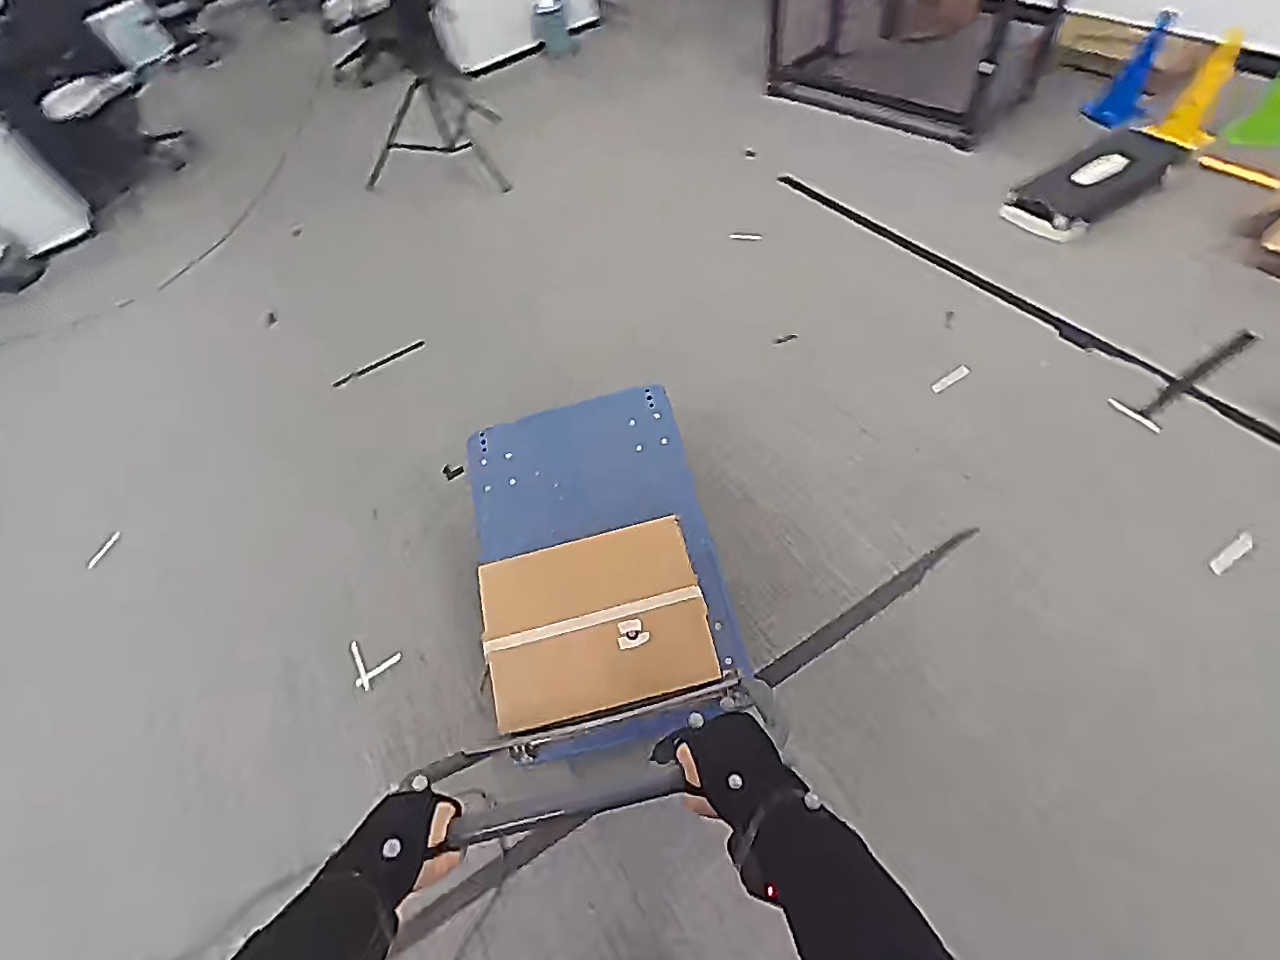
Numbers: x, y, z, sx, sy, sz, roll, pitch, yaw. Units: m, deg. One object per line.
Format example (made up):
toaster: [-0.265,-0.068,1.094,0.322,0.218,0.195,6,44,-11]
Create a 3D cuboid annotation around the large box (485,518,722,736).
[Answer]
large box: [-0.068,0.322,1.151,0.408,0.320,0.320,-15,68,-1]
